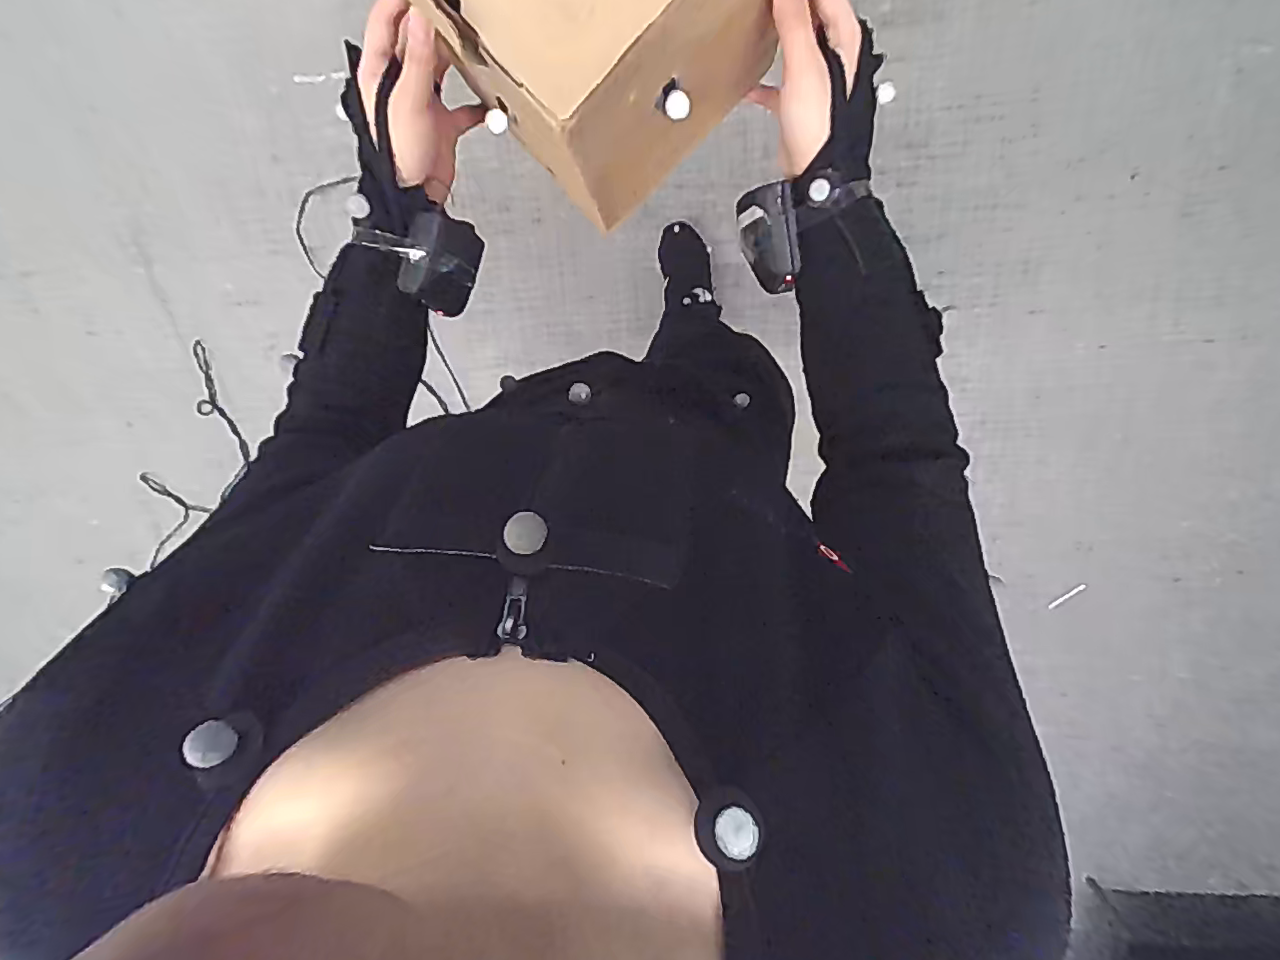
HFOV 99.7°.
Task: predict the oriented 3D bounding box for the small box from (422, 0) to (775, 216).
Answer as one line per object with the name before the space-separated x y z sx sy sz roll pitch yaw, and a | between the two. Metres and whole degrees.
small box | -0.025 -0.307 0.340 0.179 0.176 0.168 -43 92 9
